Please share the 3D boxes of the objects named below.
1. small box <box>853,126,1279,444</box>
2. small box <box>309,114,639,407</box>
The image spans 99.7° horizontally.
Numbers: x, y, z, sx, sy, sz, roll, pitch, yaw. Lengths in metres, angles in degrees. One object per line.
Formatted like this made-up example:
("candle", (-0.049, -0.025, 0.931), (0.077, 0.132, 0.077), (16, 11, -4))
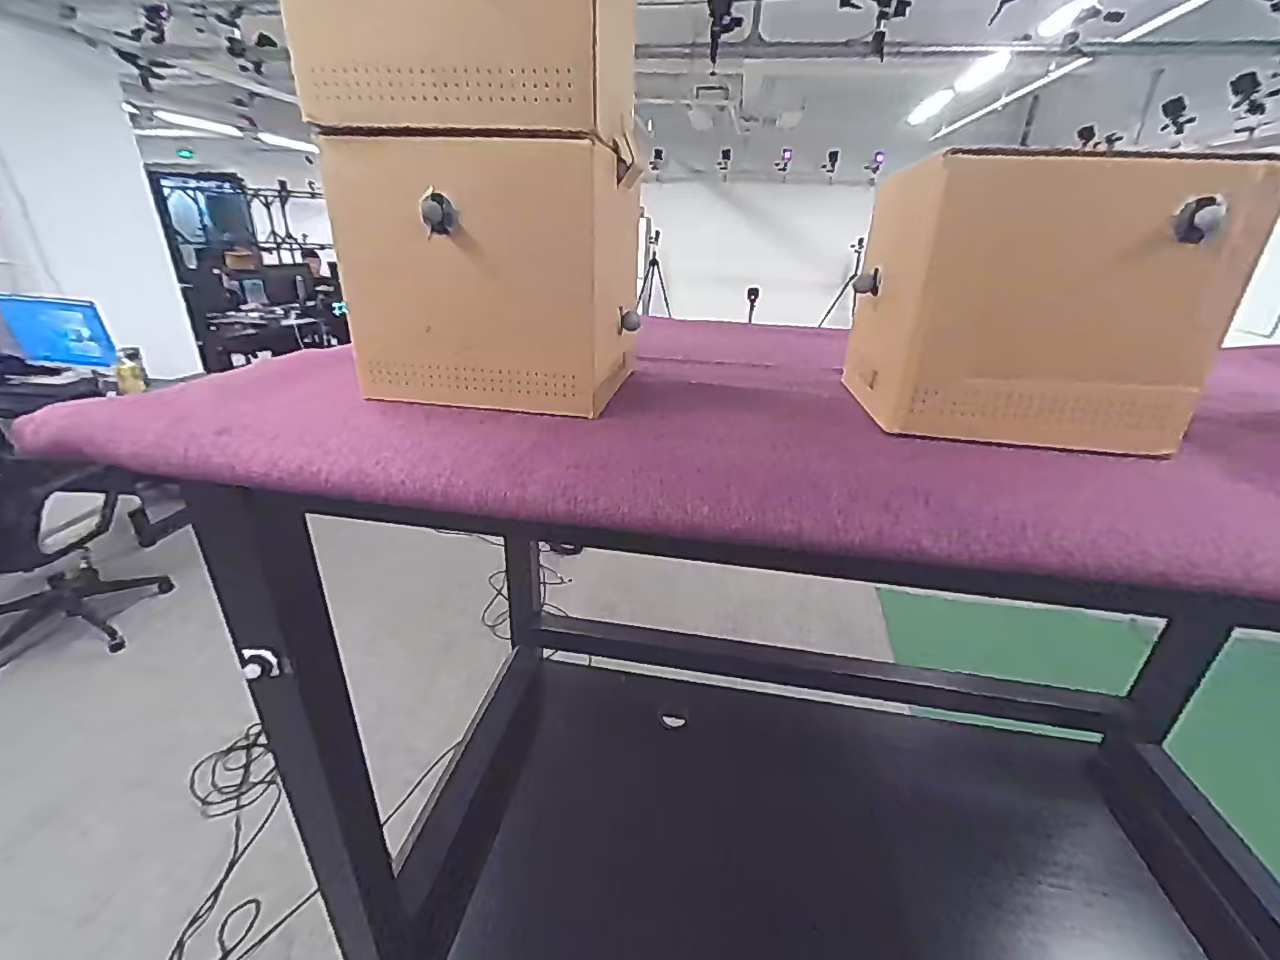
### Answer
("small box", (0.260, -0.130, 0.380), (0.179, 0.176, 0.168), (6, 23, 8))
("small box", (-0.101, -0.159, 0.409), (0.179, 0.176, 0.168), (6, 26, 7))
